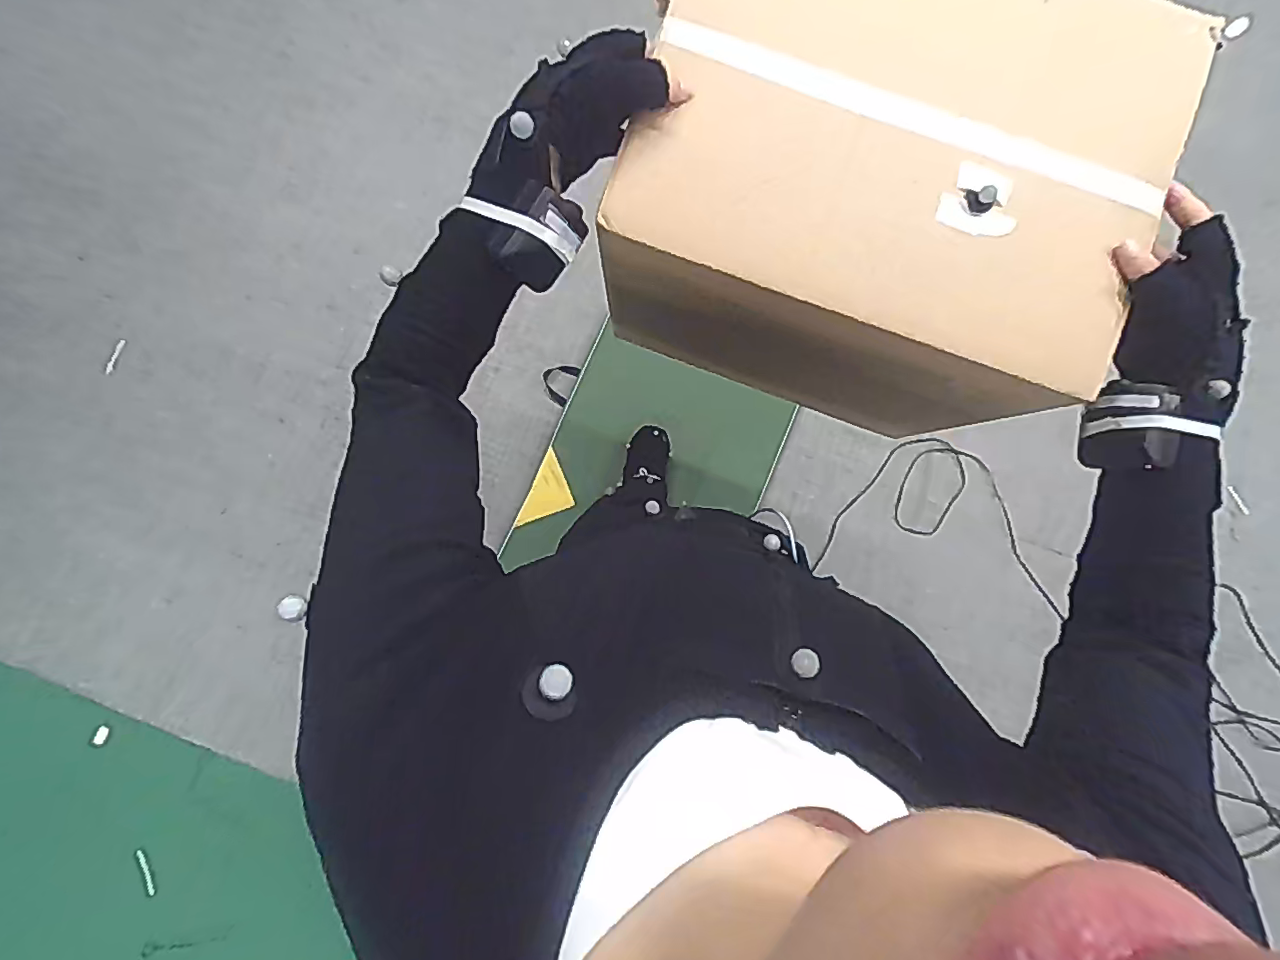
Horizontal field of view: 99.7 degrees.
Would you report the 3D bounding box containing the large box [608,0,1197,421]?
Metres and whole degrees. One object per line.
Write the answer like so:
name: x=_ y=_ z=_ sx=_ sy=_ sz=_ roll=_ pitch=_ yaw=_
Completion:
large box: x=0.202 y=-0.283 z=0.568 sx=0.408 sy=0.320 sz=0.320 roll=19 pitch=89 yaw=-1
